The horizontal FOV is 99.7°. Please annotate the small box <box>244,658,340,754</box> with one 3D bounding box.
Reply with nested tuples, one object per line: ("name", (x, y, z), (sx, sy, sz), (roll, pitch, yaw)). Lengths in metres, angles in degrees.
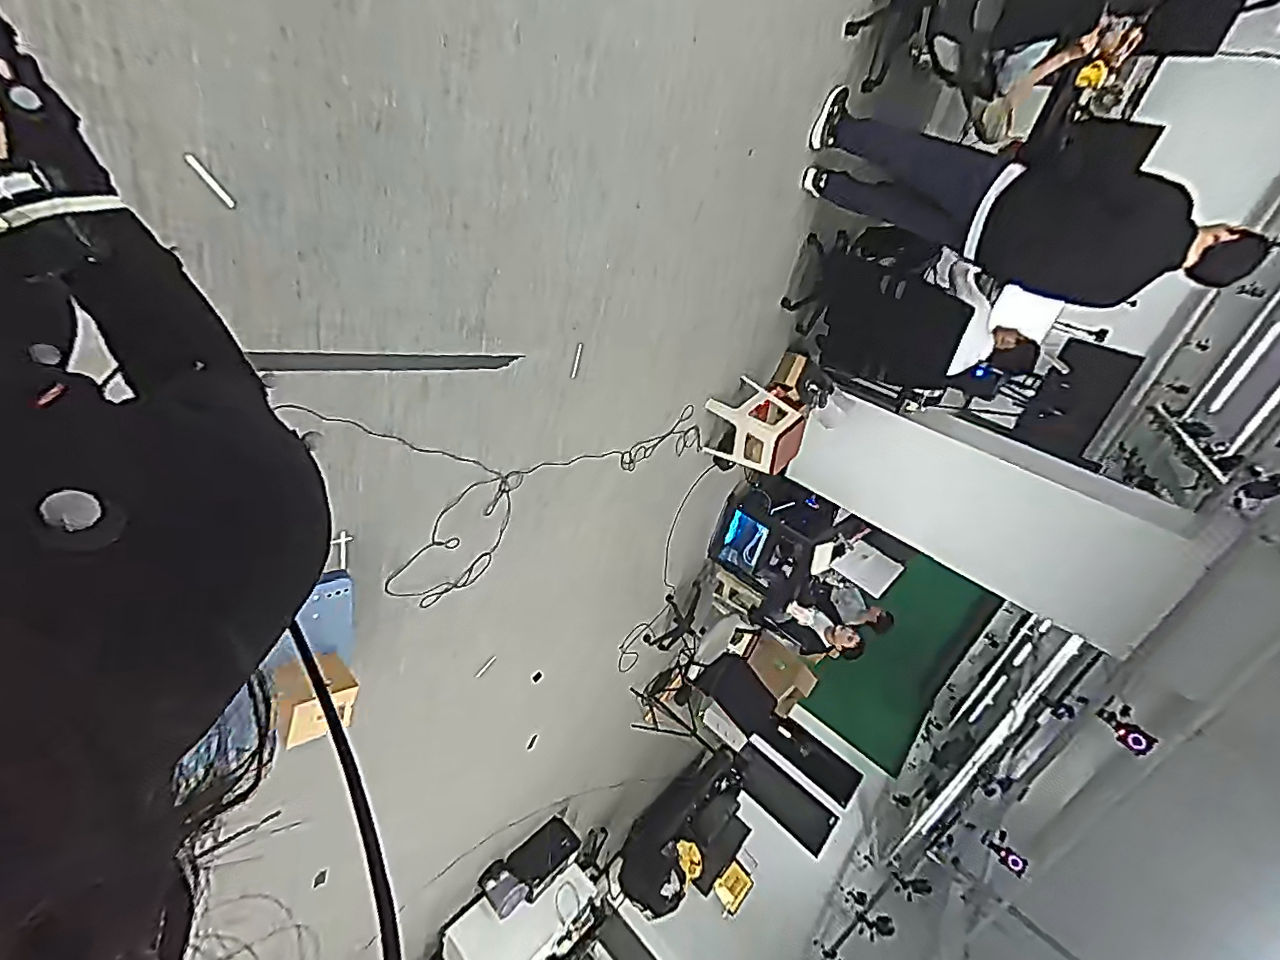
("small box", (-1.022, 0.651, 1.587), (0.179, 0.176, 0.168), (-1, 119, -54))
